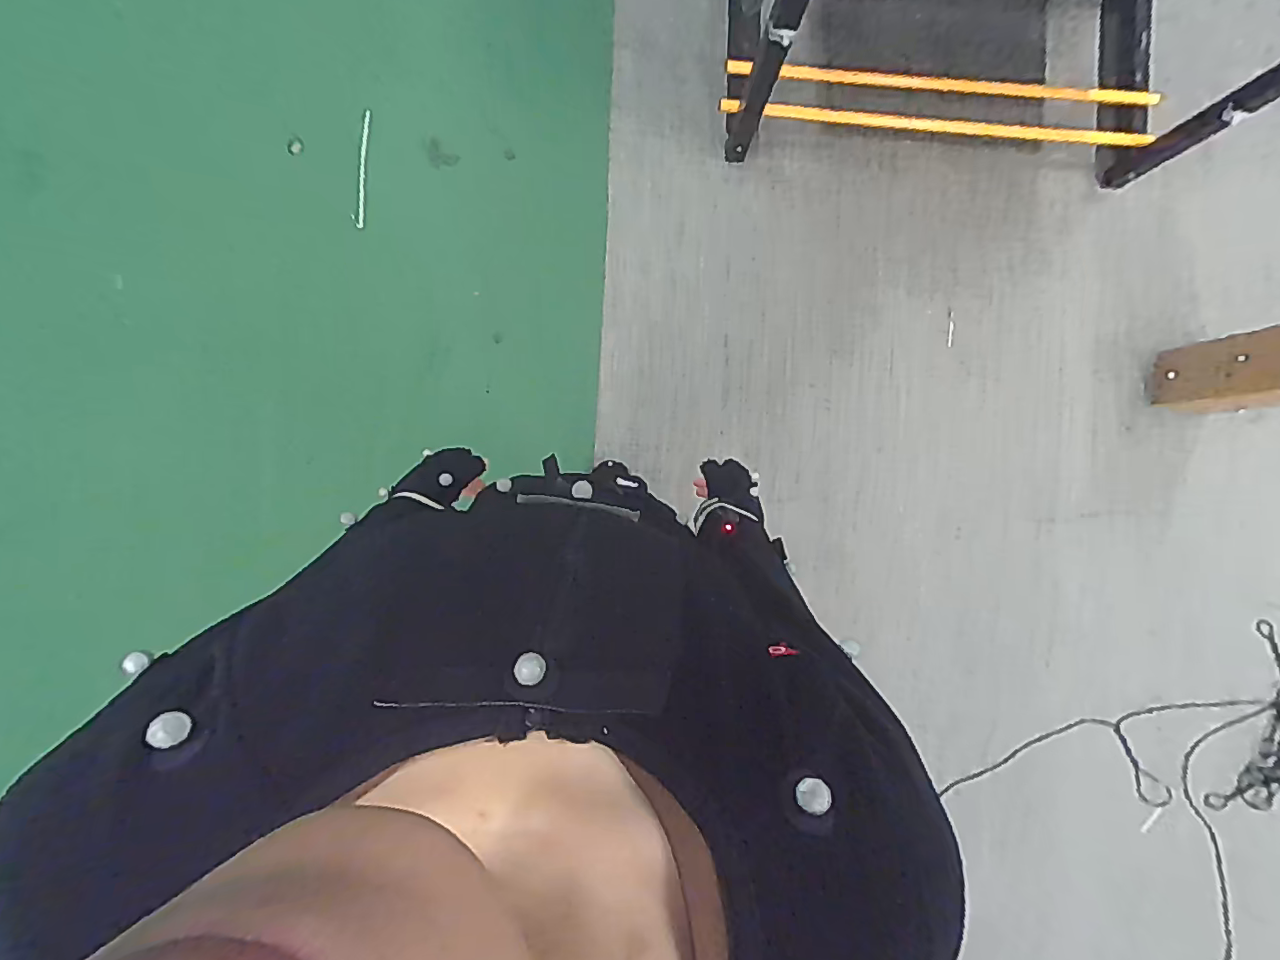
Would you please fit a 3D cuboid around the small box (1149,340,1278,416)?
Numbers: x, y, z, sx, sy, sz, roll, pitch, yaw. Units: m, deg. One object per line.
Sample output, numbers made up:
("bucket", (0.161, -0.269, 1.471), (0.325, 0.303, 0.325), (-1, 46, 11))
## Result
("small box", (1.591, -0.277, 1.508), (0.179, 0.176, 0.168), (8, 89, -3))
